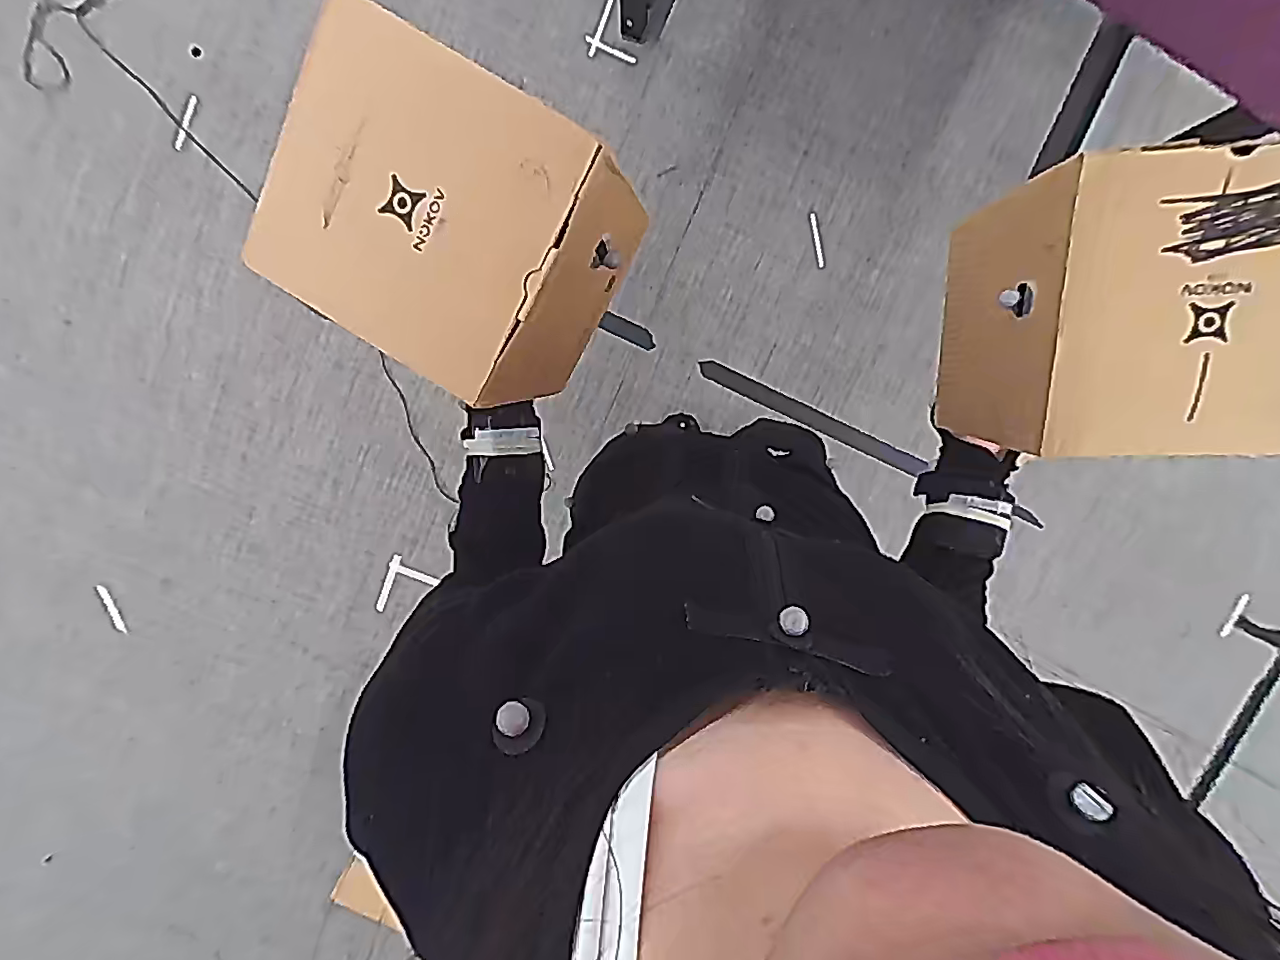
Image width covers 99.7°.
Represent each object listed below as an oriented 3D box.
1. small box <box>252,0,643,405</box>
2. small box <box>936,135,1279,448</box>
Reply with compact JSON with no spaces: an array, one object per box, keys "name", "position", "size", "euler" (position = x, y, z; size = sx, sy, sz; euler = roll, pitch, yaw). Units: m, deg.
[{"name":"small box","position":[-0.115,-0.173,0.388],"size":[0.179,0.176,0.168],"euler":[31,105,3]},{"name":"small box","position":[0.339,-0.121,0.394],"size":[0.168,0.176,0.179],"euler":[0,103,7]}]
